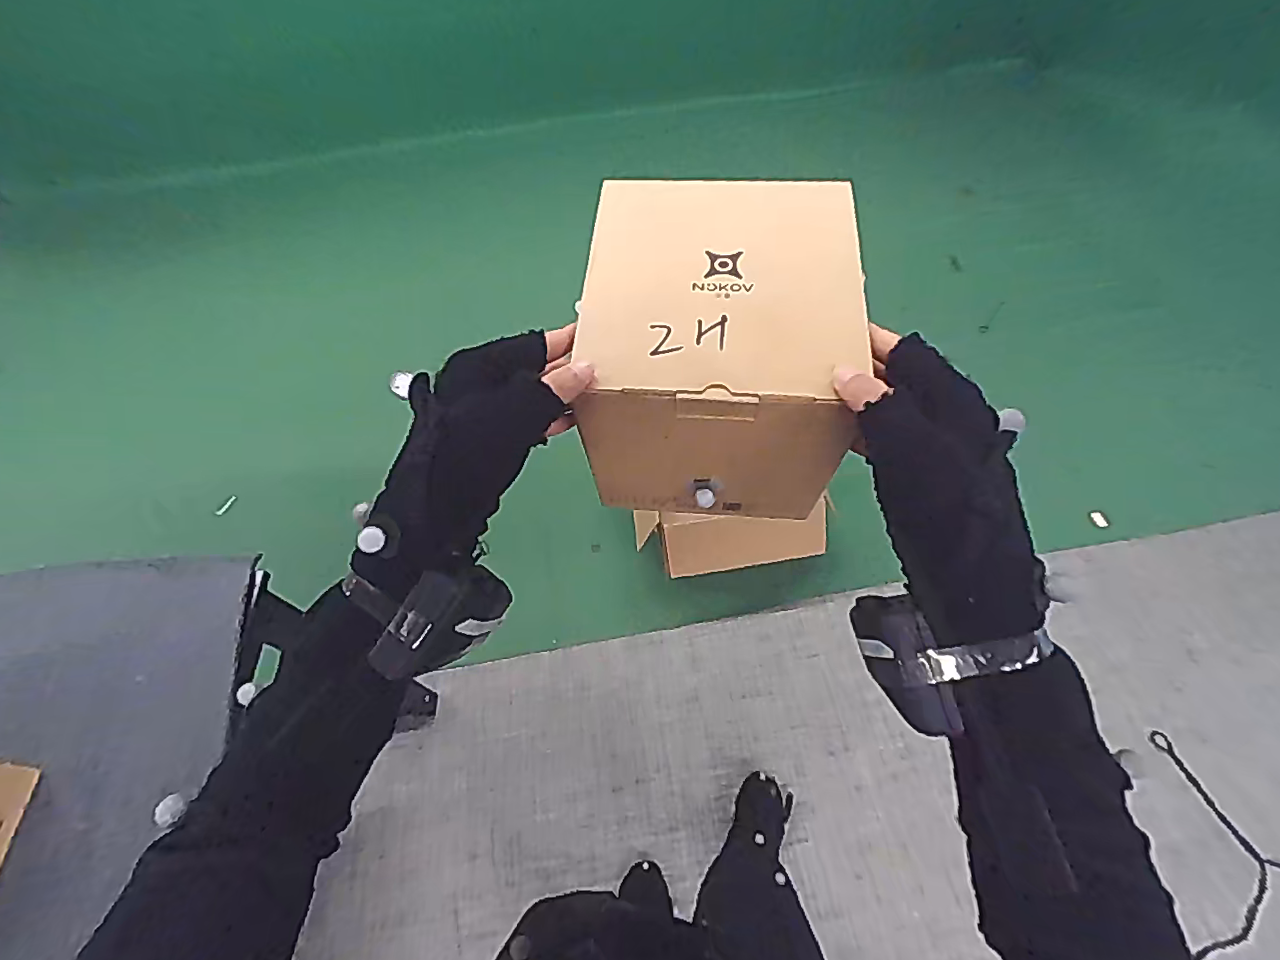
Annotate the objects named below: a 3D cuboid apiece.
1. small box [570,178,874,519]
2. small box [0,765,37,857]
[{"bbox_3d":[0.054,-0.088,0.396,0.168,0.176,0.179,3,64,6],"label":"small box"},{"bbox_3d":[-0.817,0.393,0.560,0.179,0.176,0.168,-9,56,-1],"label":"small box"}]
